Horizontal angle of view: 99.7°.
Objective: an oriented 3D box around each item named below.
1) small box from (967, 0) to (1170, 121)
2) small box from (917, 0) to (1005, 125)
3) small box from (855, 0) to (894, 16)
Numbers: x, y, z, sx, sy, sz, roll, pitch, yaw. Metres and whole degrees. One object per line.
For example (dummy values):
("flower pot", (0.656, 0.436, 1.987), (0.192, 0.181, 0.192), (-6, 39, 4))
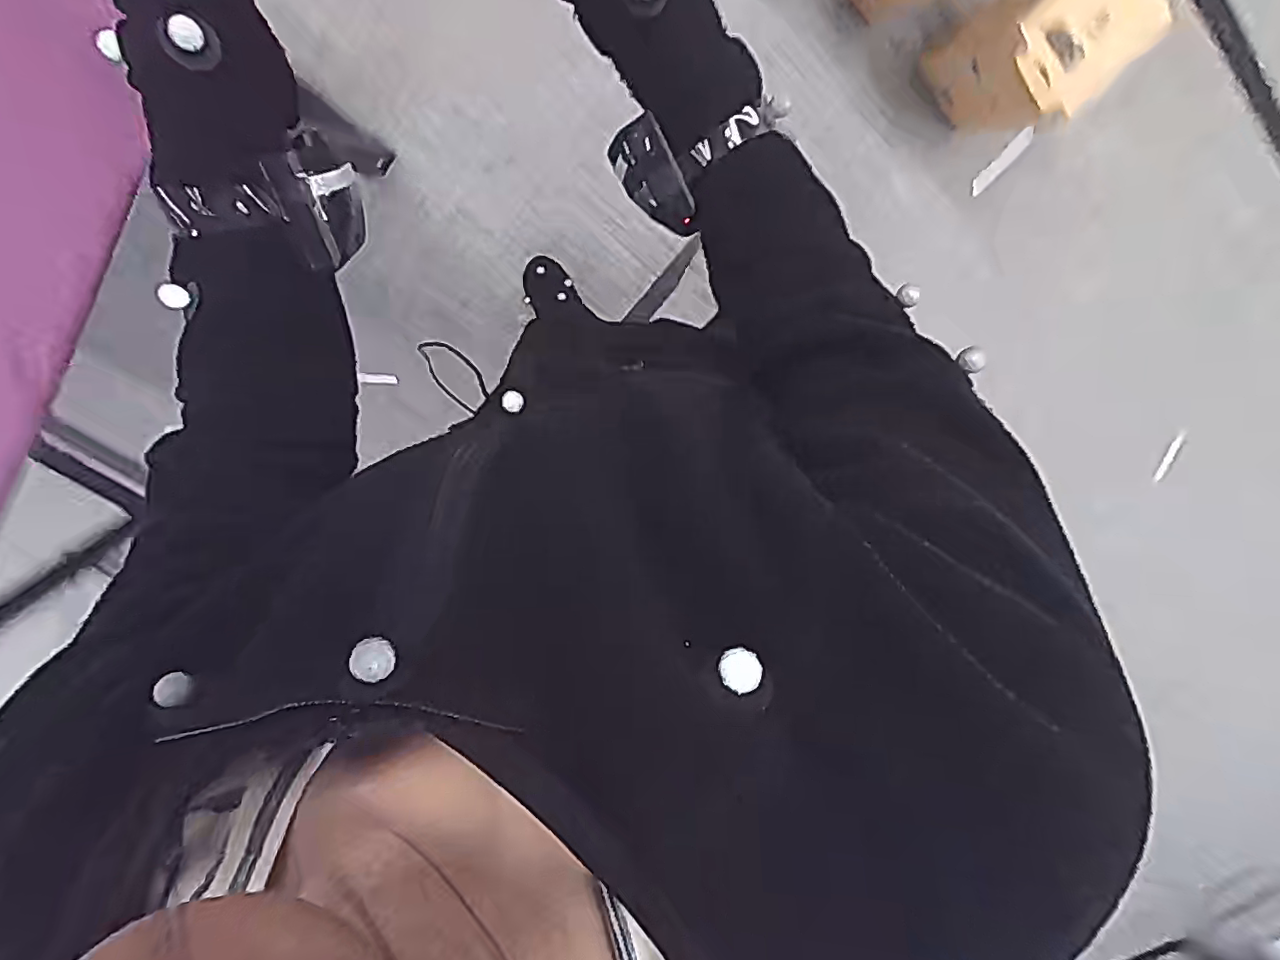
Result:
("small box", (0.674, -0.724, 0.879), (0.168, 0.176, 0.179), (39, 110, -20))
("small box", (0.671, -0.808, 1.022), (0.179, 0.176, 0.168), (40, 110, -22))
("small box", (0.440, -0.962, 0.931), (0.168, 0.176, 0.179), (34, 111, -20))
